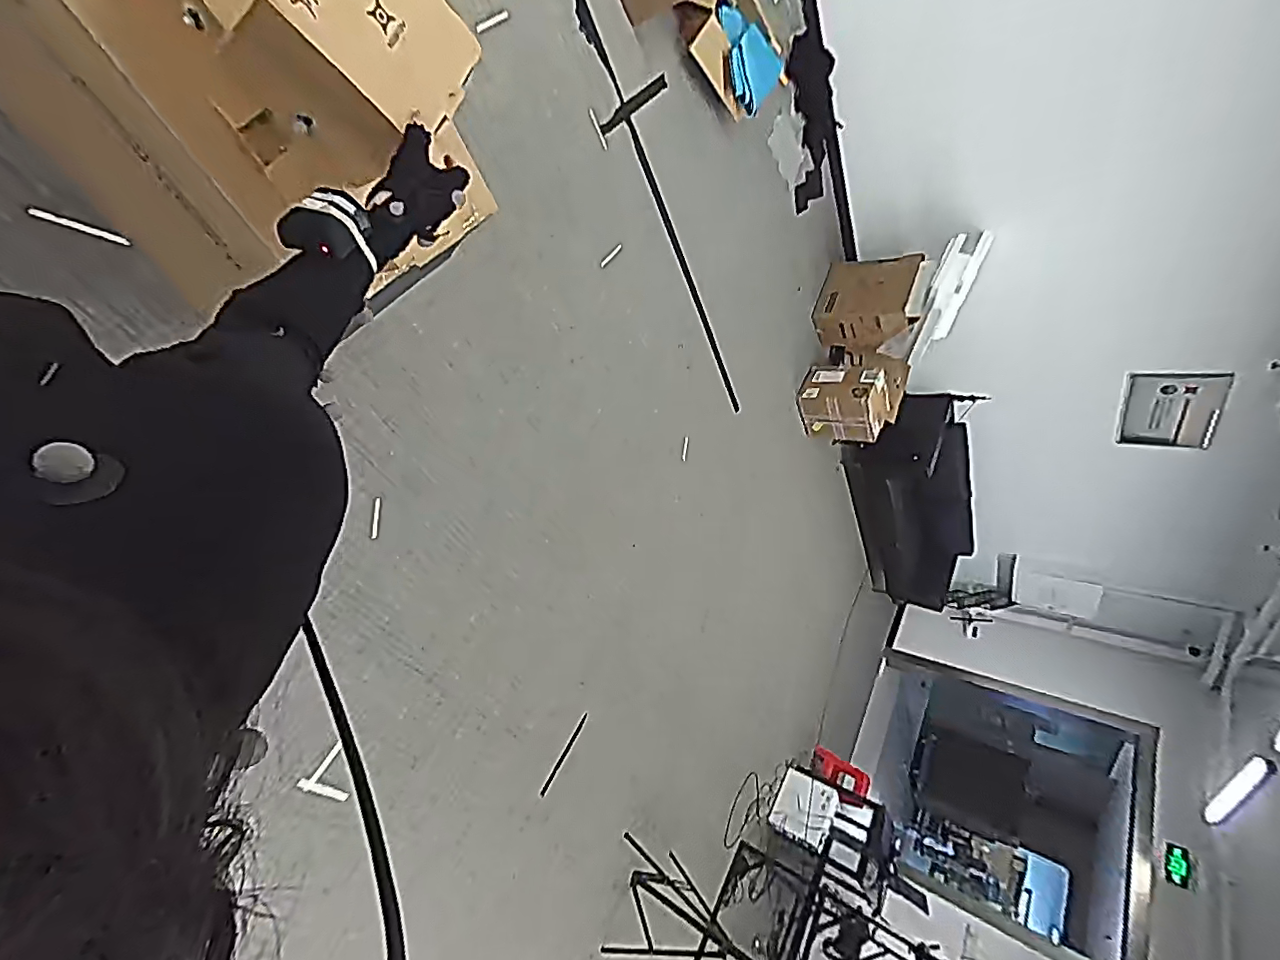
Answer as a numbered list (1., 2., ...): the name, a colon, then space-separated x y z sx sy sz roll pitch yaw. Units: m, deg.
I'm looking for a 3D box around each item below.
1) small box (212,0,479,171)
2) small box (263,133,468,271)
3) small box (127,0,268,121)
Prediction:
1. small box: -0.325 -0.482 0.608 0.179 0.176 0.168 38 68 -49
2. small box: -0.398 -0.425 0.792 0.168 0.176 0.179 -54 133 -30
3. small box: -0.483 -0.579 0.654 0.168 0.176 0.179 -57 138 -25
